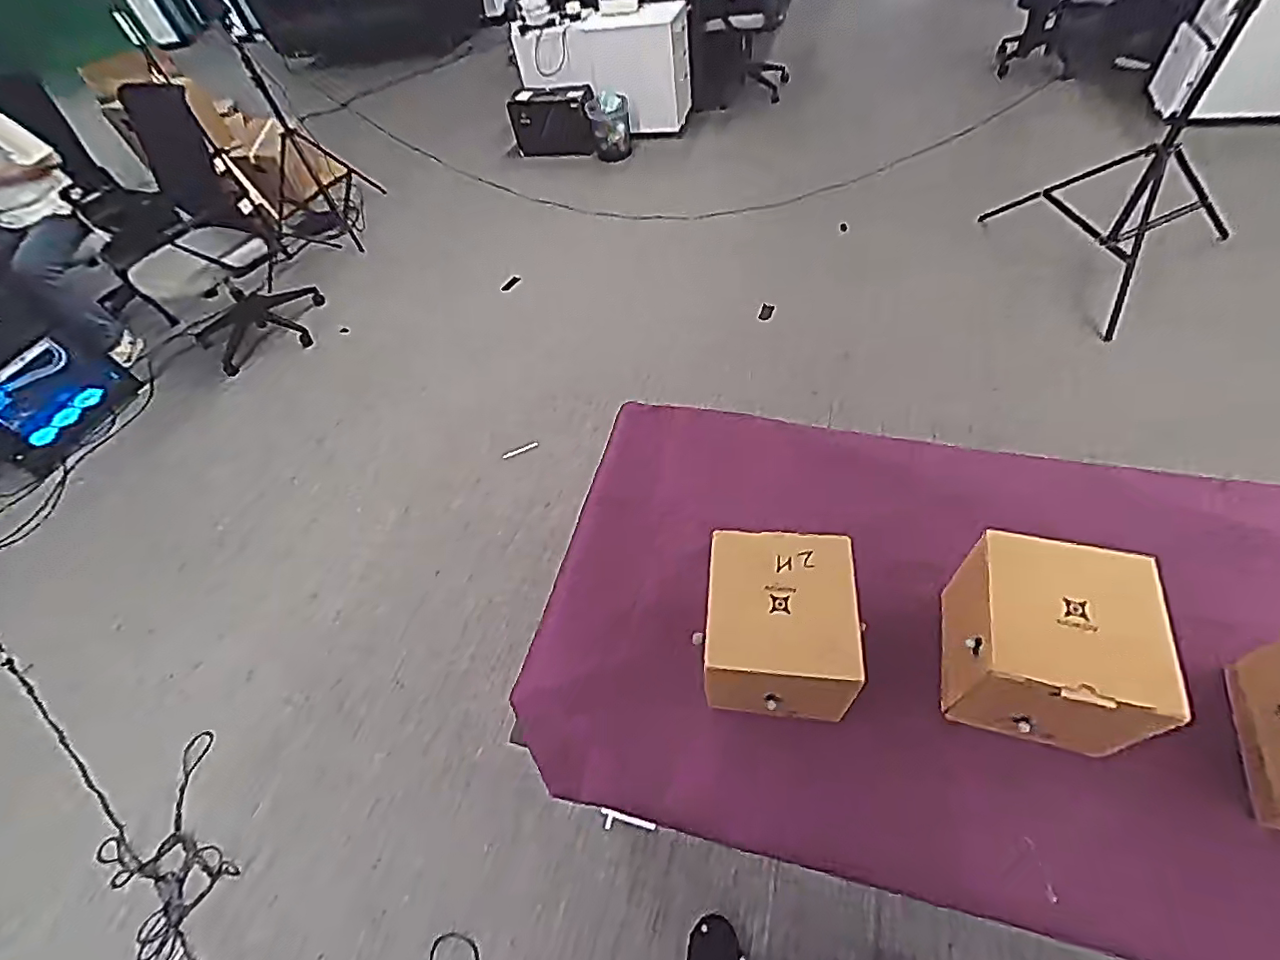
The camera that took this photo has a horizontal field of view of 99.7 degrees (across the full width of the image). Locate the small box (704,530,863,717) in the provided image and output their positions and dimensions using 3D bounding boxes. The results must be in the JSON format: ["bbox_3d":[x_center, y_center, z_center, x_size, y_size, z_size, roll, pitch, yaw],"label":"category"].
[{"bbox_3d":[0.172,0.182,0.676,0.168,0.176,0.179,2,53,11],"label":"small box"}]

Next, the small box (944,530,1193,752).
[{"bbox_3d":[0.466,0.187,0.626,0.168,0.176,0.179,10,56,17],"label":"small box"}]
